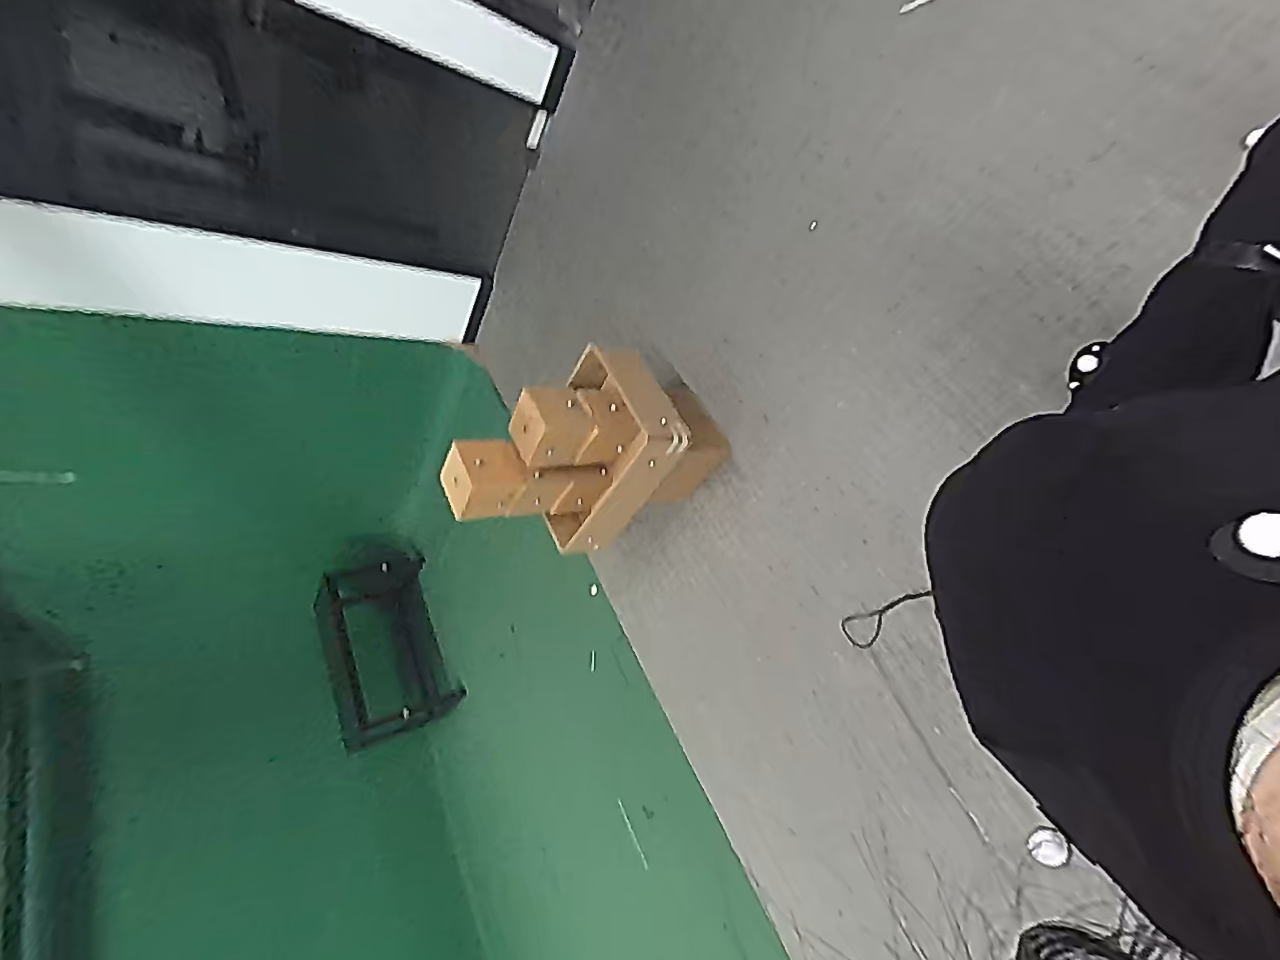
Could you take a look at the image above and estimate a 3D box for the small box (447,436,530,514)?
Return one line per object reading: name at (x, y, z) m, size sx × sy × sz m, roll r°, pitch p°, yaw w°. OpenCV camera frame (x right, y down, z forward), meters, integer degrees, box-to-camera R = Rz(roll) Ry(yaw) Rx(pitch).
small box at (-0.463, -0.016, 1.650) m, size 0.168 × 0.176 × 0.179 m, roll -53°, pitch 56°, yaw 38°
